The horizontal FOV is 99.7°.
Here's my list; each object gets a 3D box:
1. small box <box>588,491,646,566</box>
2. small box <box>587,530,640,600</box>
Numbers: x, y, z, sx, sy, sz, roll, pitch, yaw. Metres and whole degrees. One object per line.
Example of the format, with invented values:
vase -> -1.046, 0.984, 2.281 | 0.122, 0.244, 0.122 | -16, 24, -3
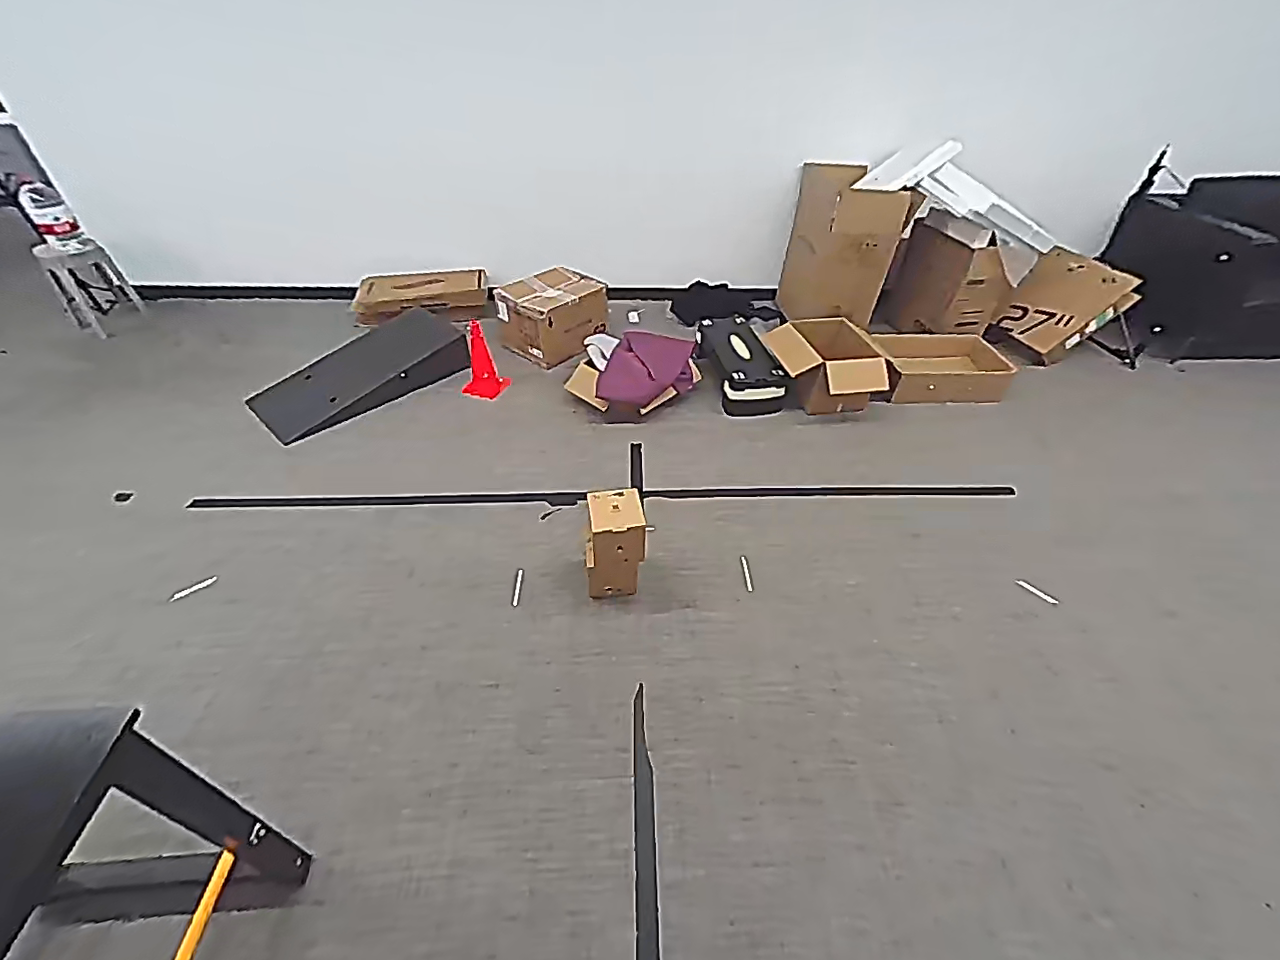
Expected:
small box -> -0.073, 0.161, 1.736 | 0.168, 0.176, 0.179 | -6, 42, -7
small box -> -0.093, 0.283, 1.845 | 0.168, 0.176, 0.179 | -5, 43, -6
